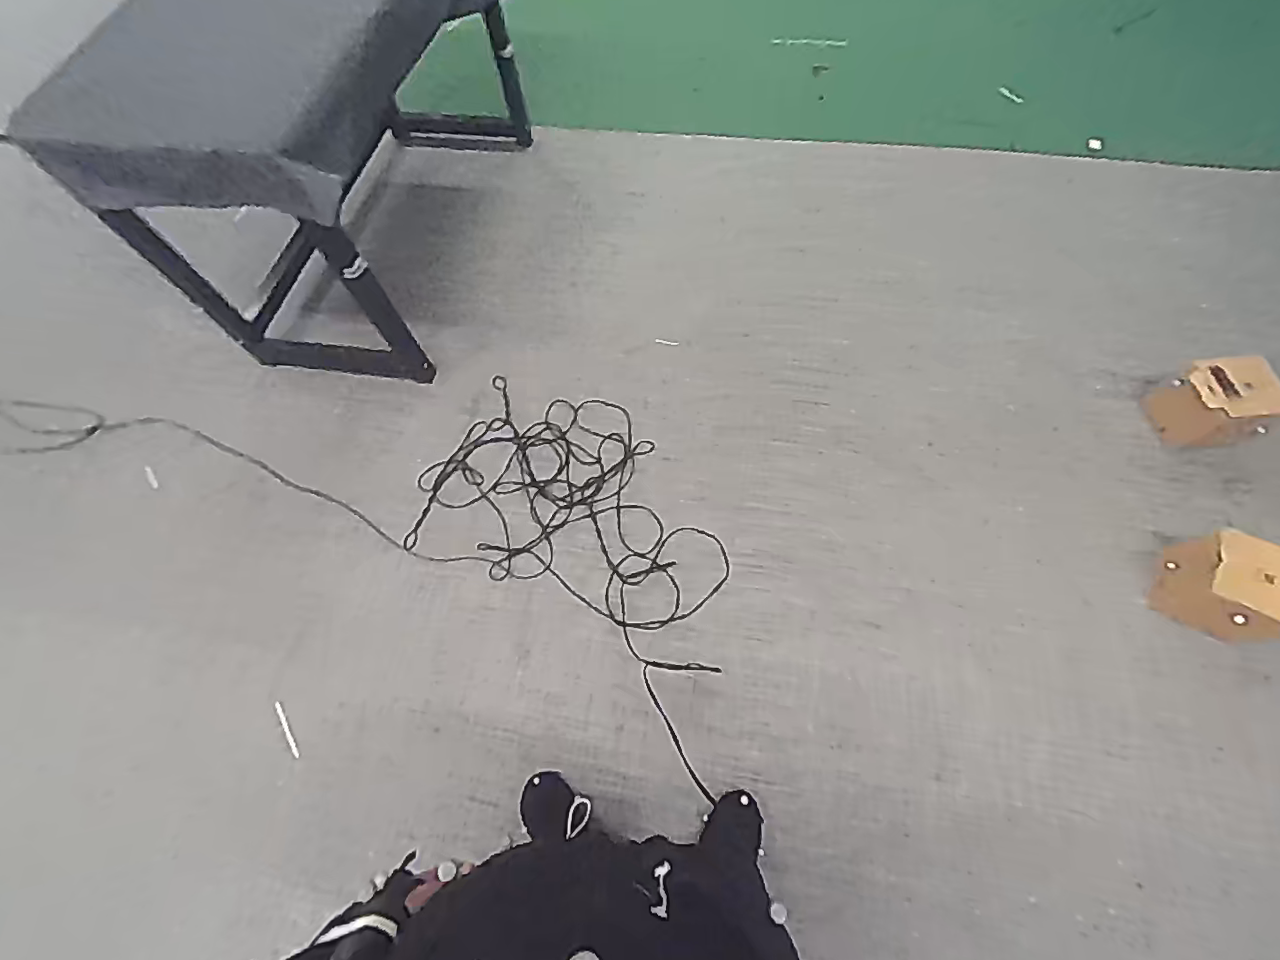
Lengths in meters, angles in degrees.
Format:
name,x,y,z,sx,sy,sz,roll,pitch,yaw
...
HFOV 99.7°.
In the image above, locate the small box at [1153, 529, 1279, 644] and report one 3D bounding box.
name,x,y,z,sx,sy,sz,roll,pitch,yaw
small box,1.271,0.236,1.157,0.179,0.176,0.168,26,69,15
